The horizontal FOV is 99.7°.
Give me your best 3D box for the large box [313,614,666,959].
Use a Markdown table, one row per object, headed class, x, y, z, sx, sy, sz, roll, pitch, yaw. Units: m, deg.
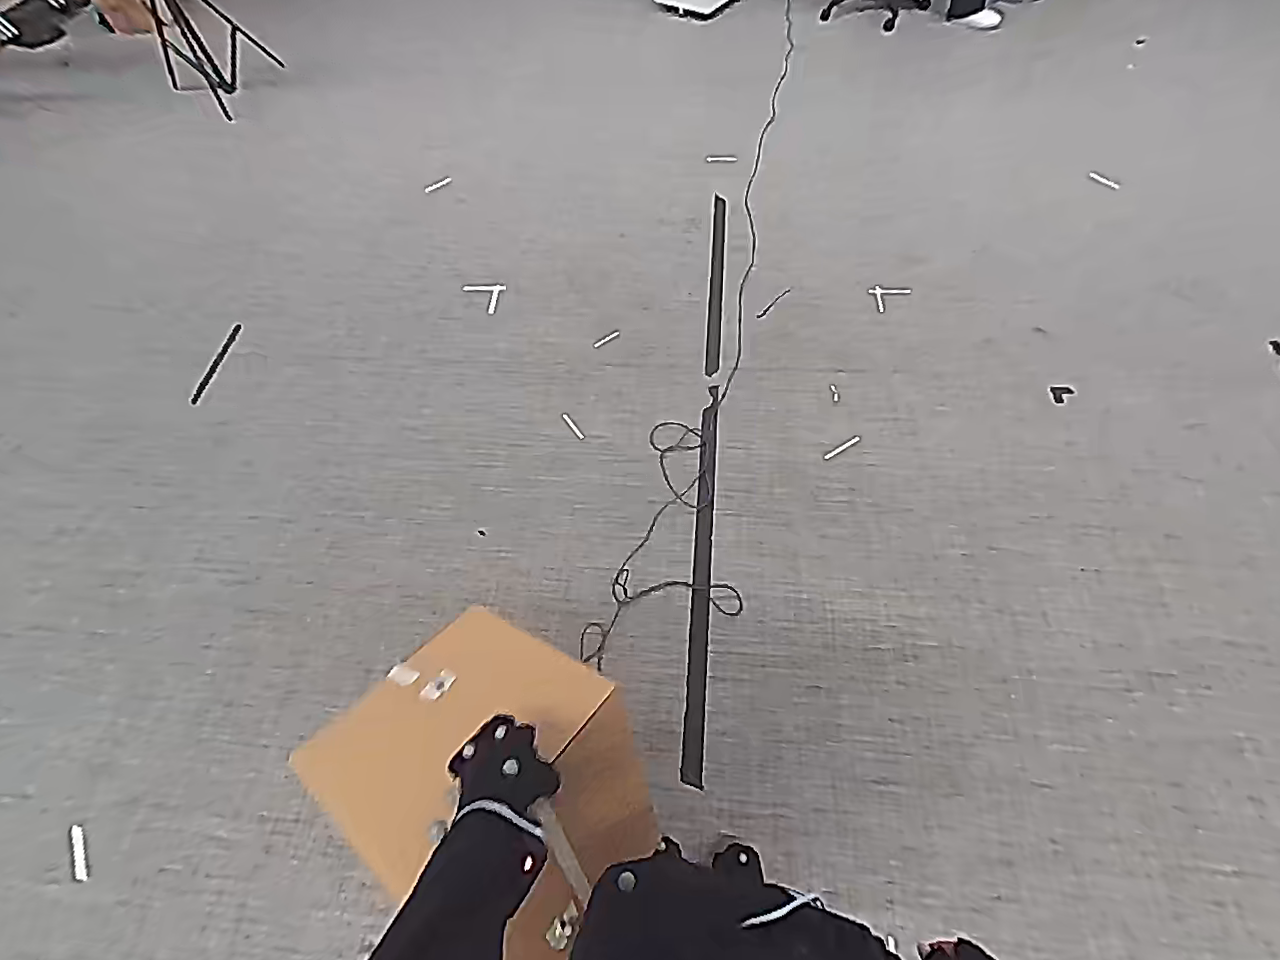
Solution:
| class | x | y | z | sx | sy | sz | roll | pitch | yaw |
| --- | --- | --- | --- | --- | --- | --- | --- | --- | --- |
| large box | -0.194 | 0.485 | 0.809 | 0.320 | 0.408 | 0.320 | 18 | 41 | 37 |
